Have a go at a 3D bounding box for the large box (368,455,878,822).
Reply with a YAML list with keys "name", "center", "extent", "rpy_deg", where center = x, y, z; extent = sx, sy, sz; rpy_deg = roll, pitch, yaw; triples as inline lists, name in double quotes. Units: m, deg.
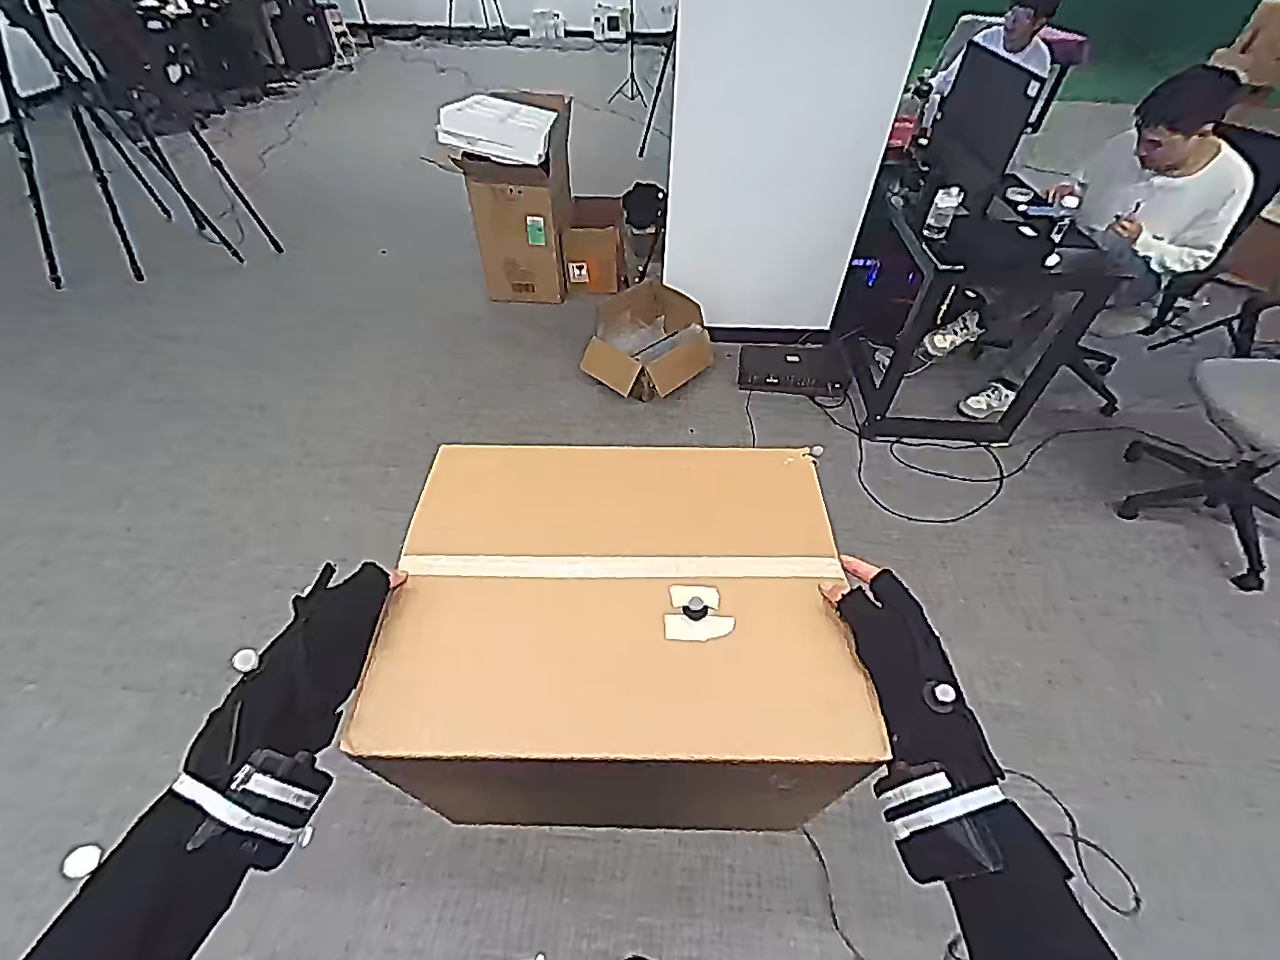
- name: "large box"
  center: [-0.015, 0.186, 0.623]
  extent: [0.408, 0.320, 0.320]
  rpy_deg: [1, 49, 0]
